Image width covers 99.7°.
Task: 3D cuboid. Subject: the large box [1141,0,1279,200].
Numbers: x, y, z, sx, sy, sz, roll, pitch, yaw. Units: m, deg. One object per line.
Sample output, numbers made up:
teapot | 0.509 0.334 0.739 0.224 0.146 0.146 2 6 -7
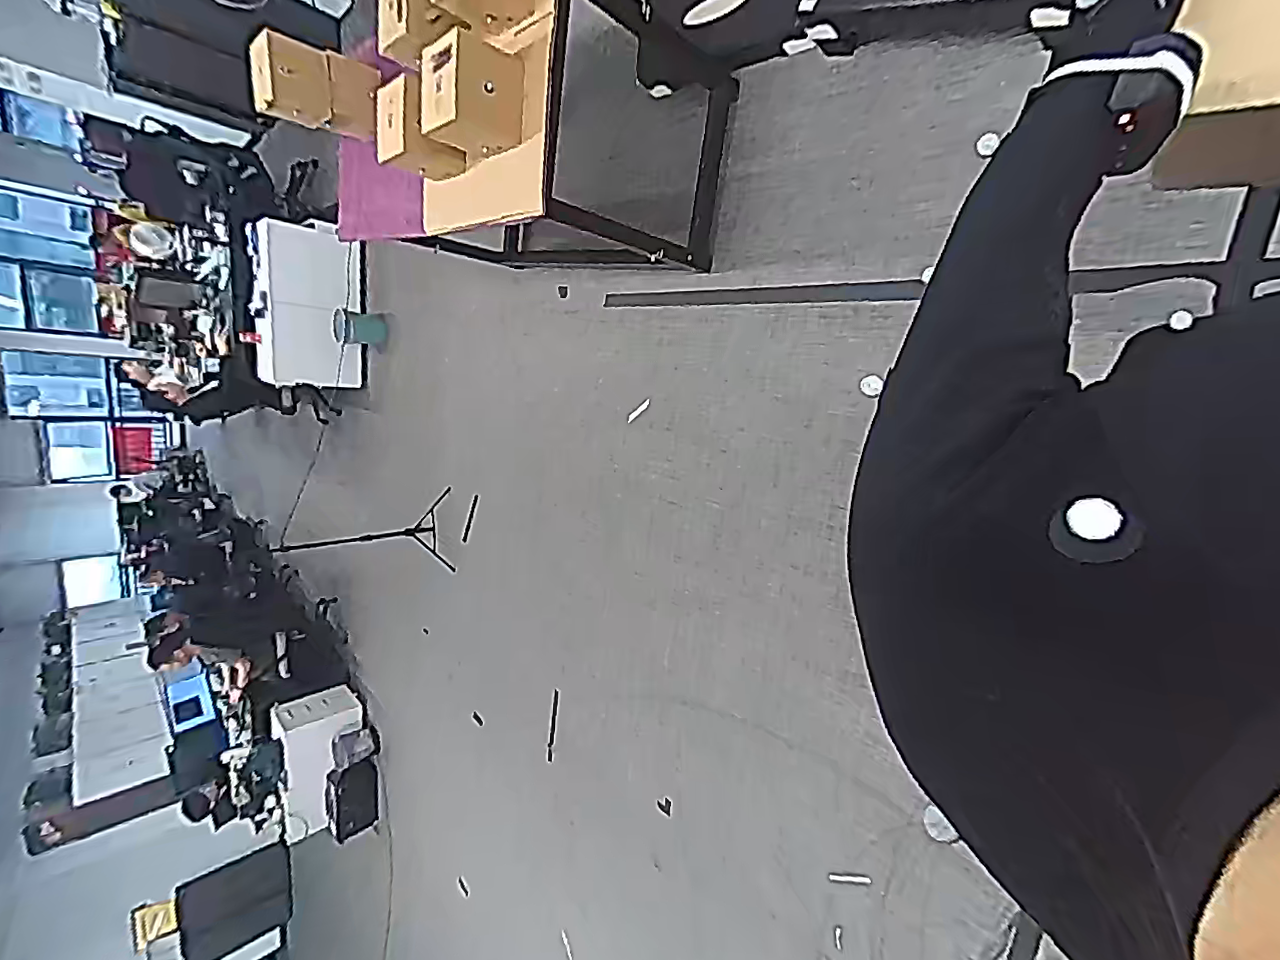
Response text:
large box | 0.646 -0.399 0.359 0.408 0.320 0.320 20 114 40
